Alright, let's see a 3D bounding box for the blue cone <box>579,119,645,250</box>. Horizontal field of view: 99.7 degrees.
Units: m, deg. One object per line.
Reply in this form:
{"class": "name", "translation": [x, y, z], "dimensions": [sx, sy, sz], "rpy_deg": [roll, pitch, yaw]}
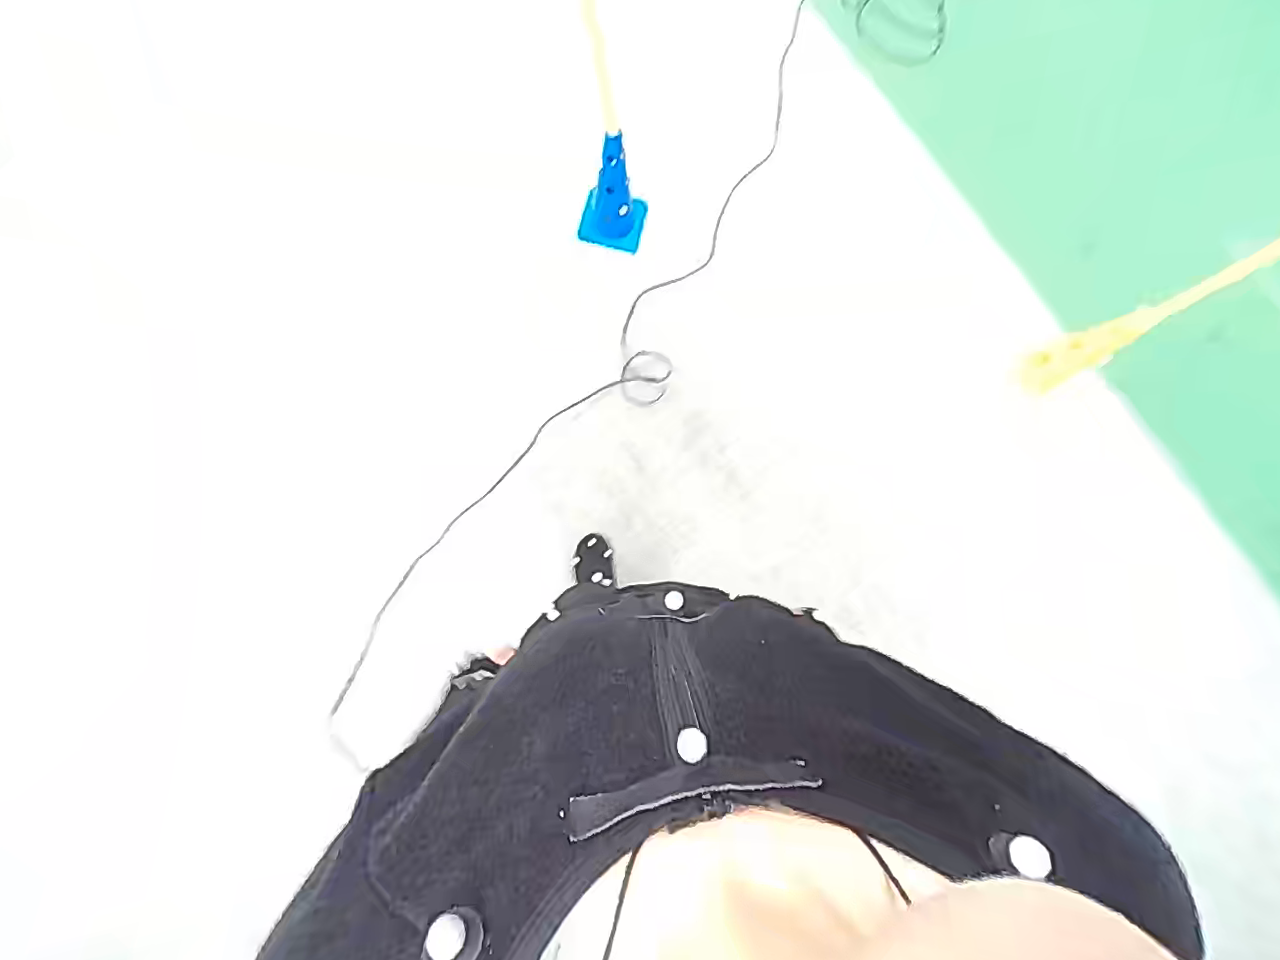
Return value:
{"class": "blue cone", "translation": [-0.080, -0.841, 1.526], "dimensions": [0.193, 0.380, 0.192], "rpy_deg": [12, 79, -1]}
